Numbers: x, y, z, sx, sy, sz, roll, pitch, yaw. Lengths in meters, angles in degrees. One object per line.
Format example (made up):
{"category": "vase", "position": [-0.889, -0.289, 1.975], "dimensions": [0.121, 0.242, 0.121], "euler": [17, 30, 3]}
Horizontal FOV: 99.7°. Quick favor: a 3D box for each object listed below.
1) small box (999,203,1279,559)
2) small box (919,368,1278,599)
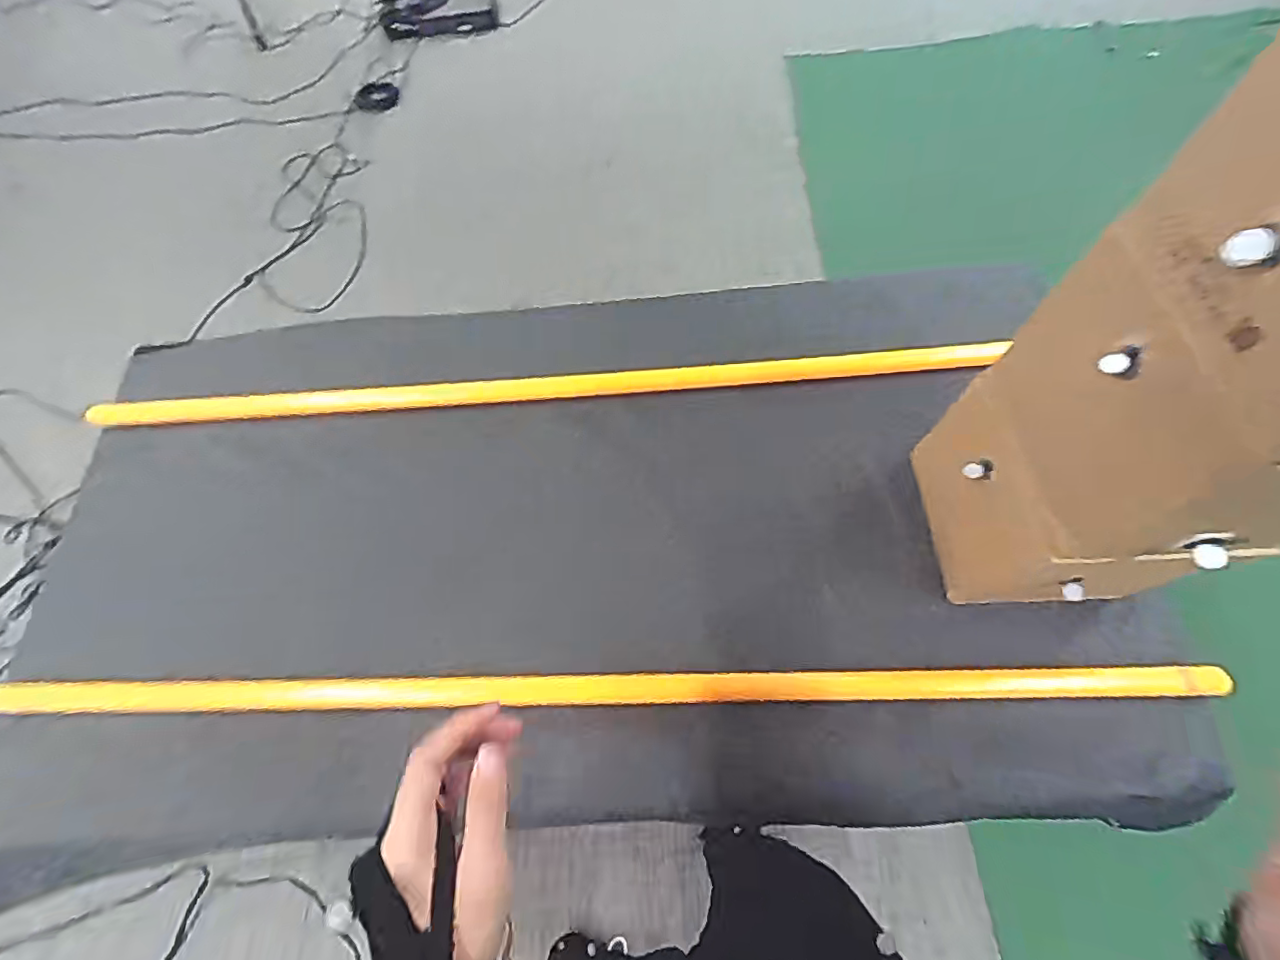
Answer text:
{"category": "small box", "position": [0.380, -0.059, 0.357], "dimensions": [0.168, 0.176, 0.179], "euler": [-6, 66, 4]}
{"category": "small box", "position": [0.389, 0.011, 0.503], "dimensions": [0.168, 0.176, 0.179], "euler": [-3, 65, 4]}
